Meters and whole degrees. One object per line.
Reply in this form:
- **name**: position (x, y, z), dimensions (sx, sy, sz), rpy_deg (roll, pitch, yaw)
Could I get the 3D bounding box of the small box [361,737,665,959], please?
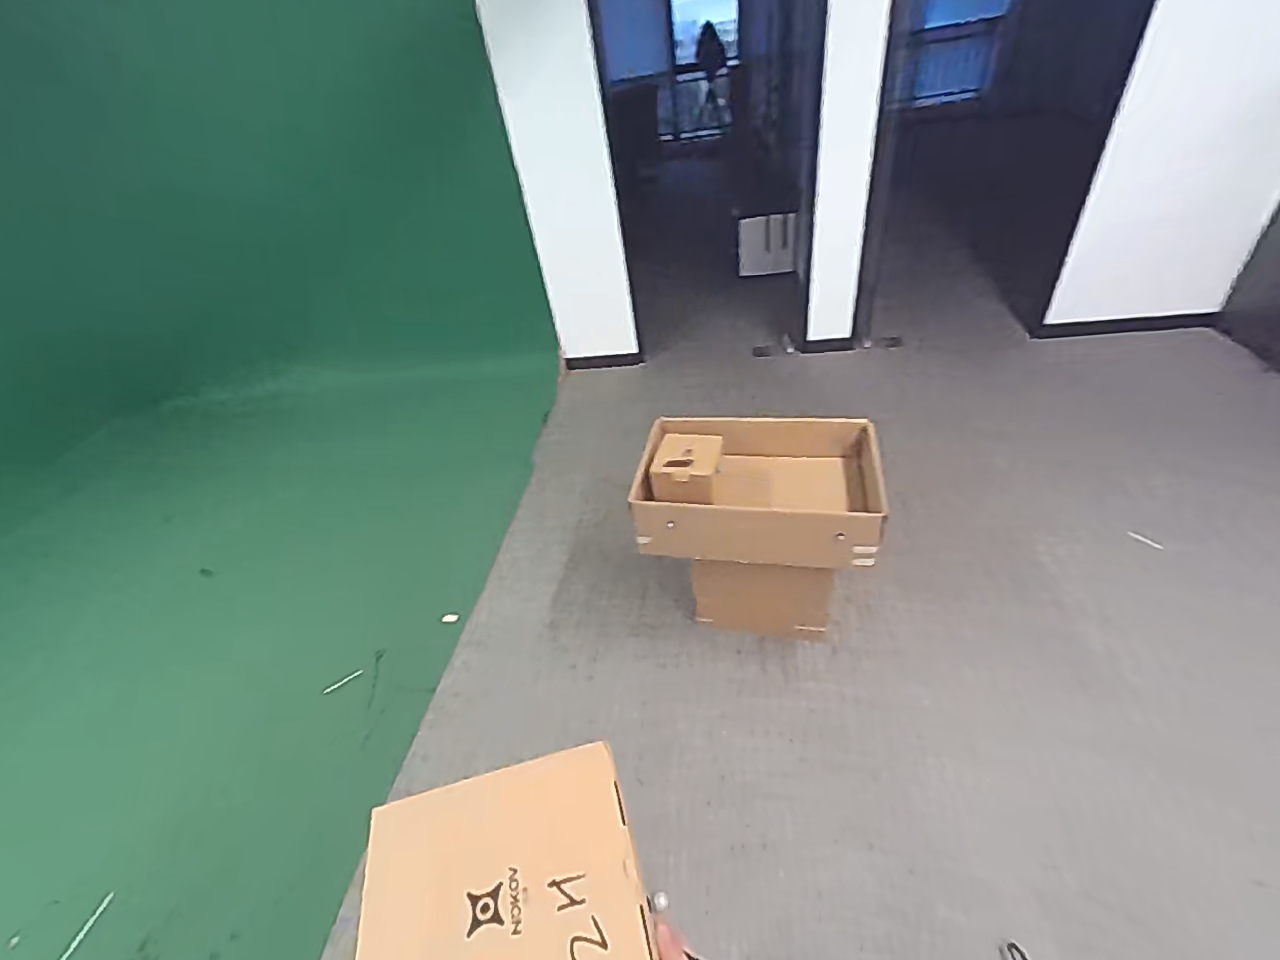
- **small box**: position (-0.079, 0.323, 0.393), dimensions (0.179, 0.176, 0.168), rpy_deg (-12, 42, -7)
